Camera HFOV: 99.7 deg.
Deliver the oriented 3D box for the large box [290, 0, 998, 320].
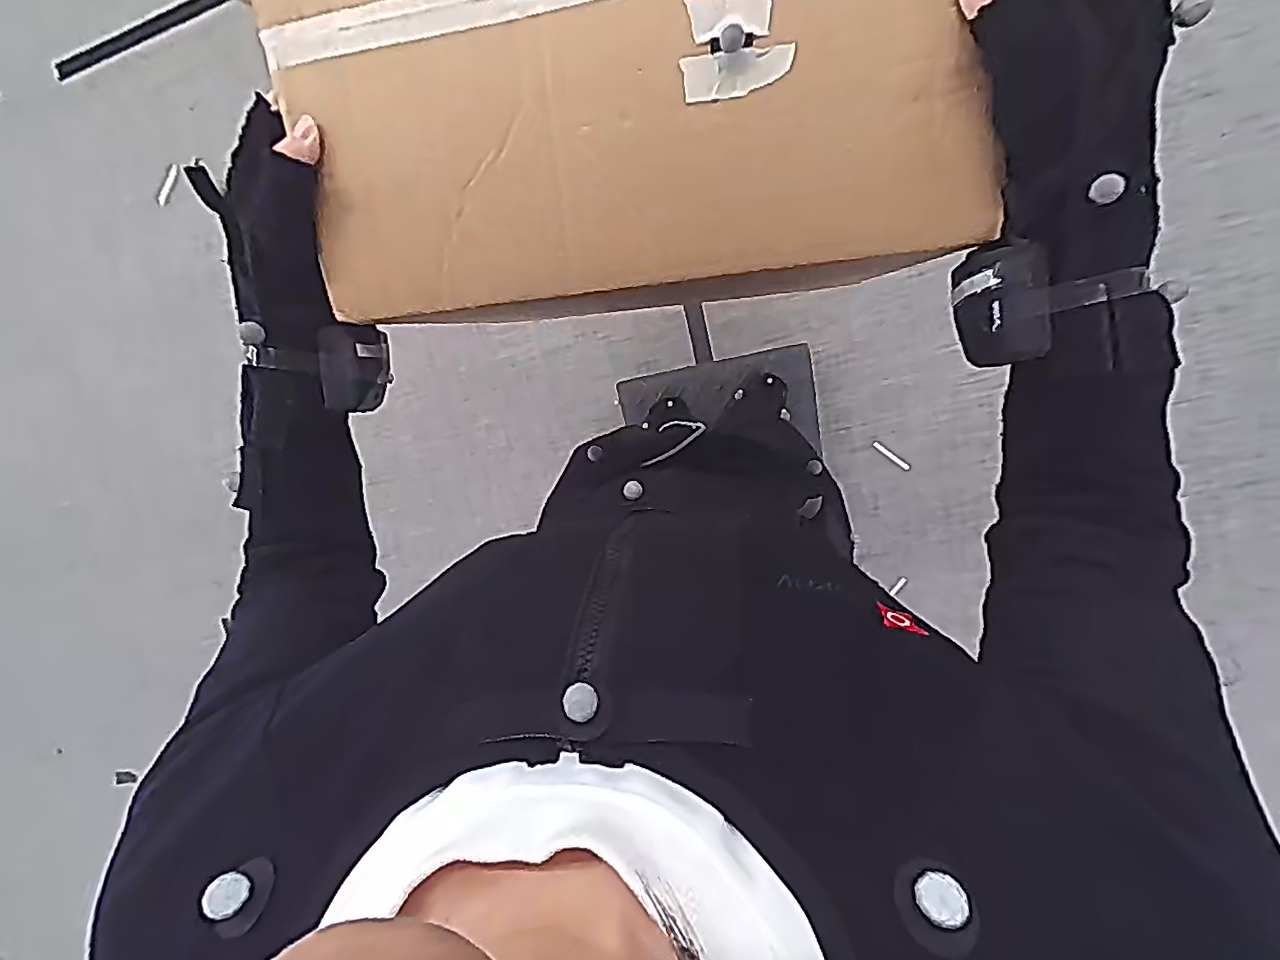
[{"bbox_3d":[0.005,-0.316,0.443,0.408,0.320,0.320,-4,106,9],"label":"large box"}]
